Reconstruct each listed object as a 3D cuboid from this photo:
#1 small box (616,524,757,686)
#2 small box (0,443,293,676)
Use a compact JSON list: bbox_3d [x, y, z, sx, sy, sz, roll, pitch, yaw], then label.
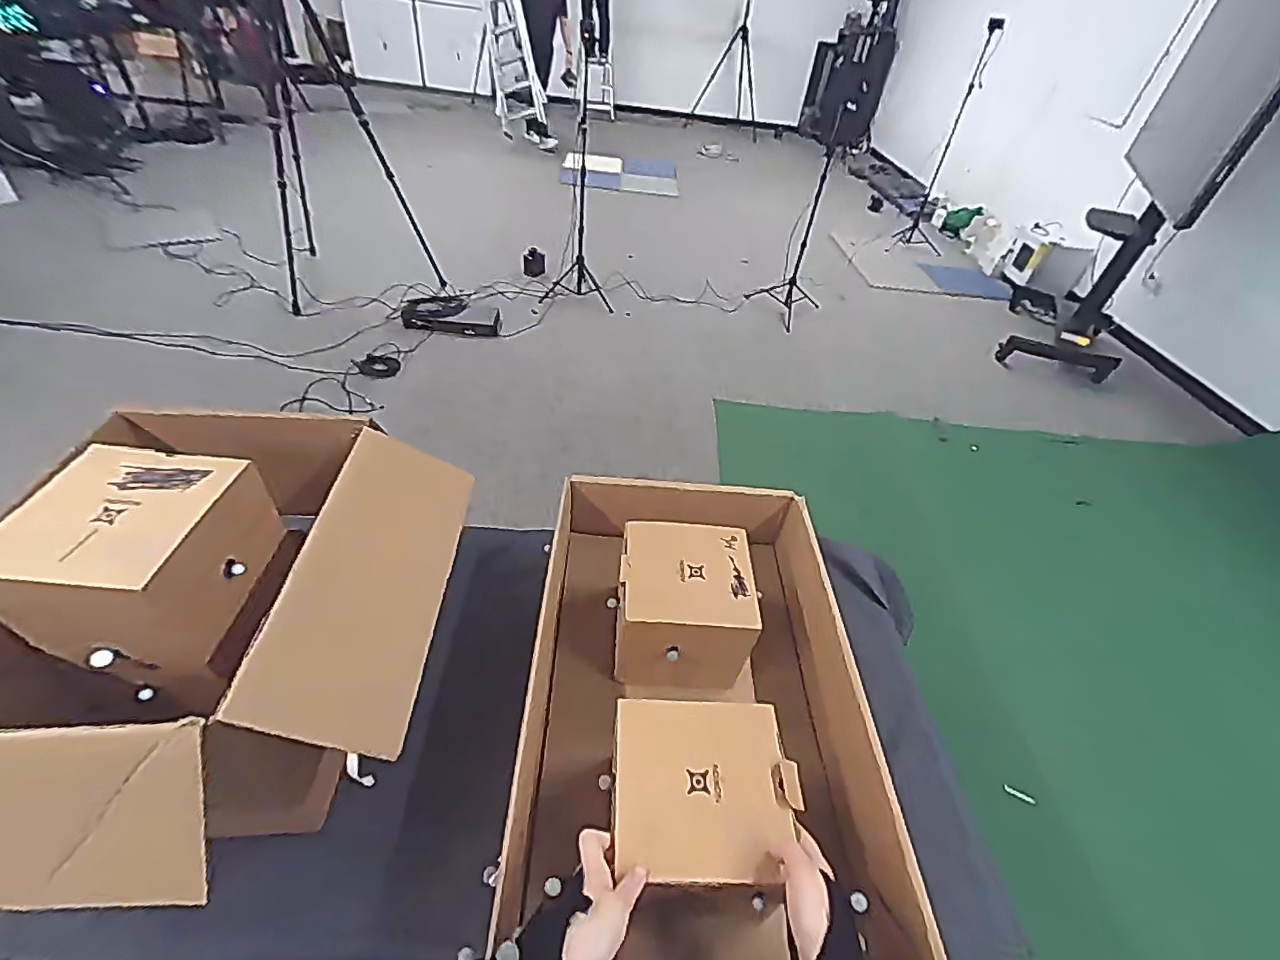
[{"bbox_3d":[0.057,0.183,0.783,0.179,0.176,0.168,4,46,-3],"label":"small box"},{"bbox_3d":[-0.514,0.087,0.587,0.168,0.176,0.179,6,45,-3],"label":"small box"}]
